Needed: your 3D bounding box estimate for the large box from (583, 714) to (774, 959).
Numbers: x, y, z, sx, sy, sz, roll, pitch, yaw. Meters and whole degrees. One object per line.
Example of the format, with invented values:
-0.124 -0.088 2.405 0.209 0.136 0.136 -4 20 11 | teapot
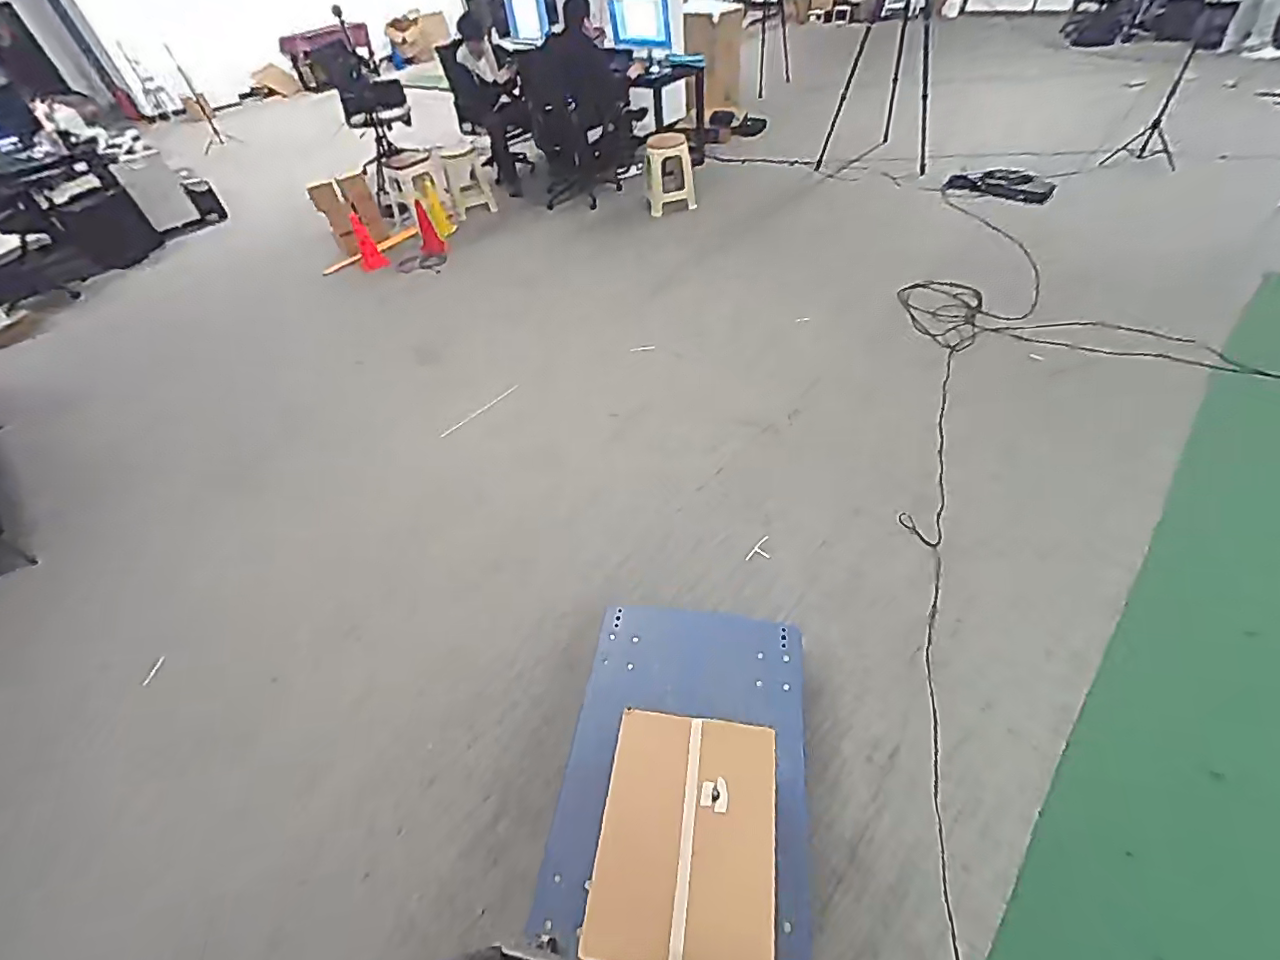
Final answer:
0.099 0.753 1.099 0.320 0.320 0.408 4 47 10 | large box
